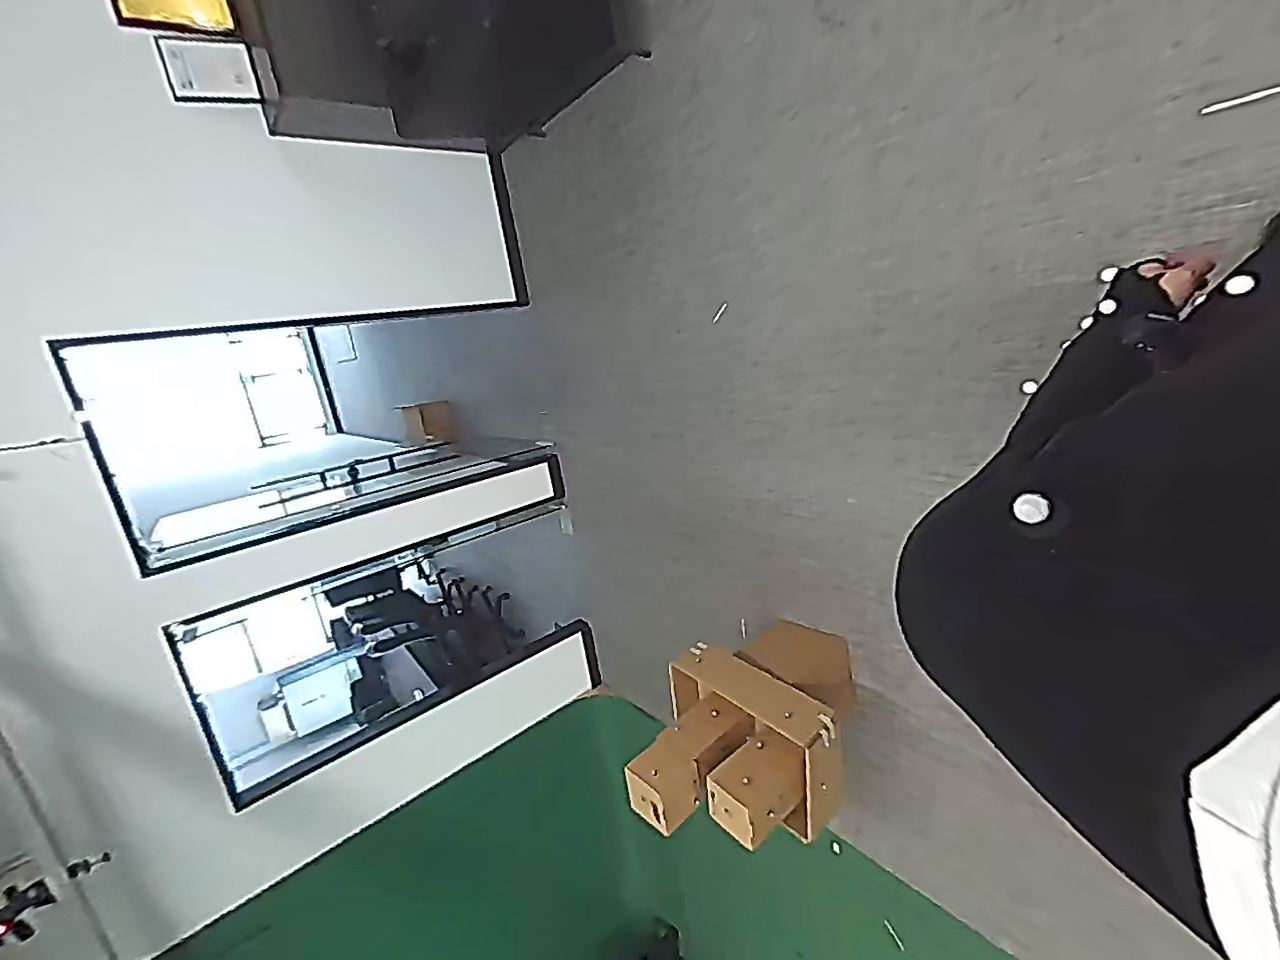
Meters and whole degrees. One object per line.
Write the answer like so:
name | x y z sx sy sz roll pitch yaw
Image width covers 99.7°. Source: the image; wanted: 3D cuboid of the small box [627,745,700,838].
small box | 0.083 1.010 1.774 0.179 0.176 0.168 9 111 49

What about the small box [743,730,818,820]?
small box | 0.466 0.967 1.799 0.179 0.176 0.168 16 118 50

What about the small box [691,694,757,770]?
small box | 0.312 0.923 1.994 0.179 0.176 0.168 11 113 47

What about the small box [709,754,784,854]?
small box | 0.340 1.010 1.705 0.179 0.176 0.168 15 116 49
